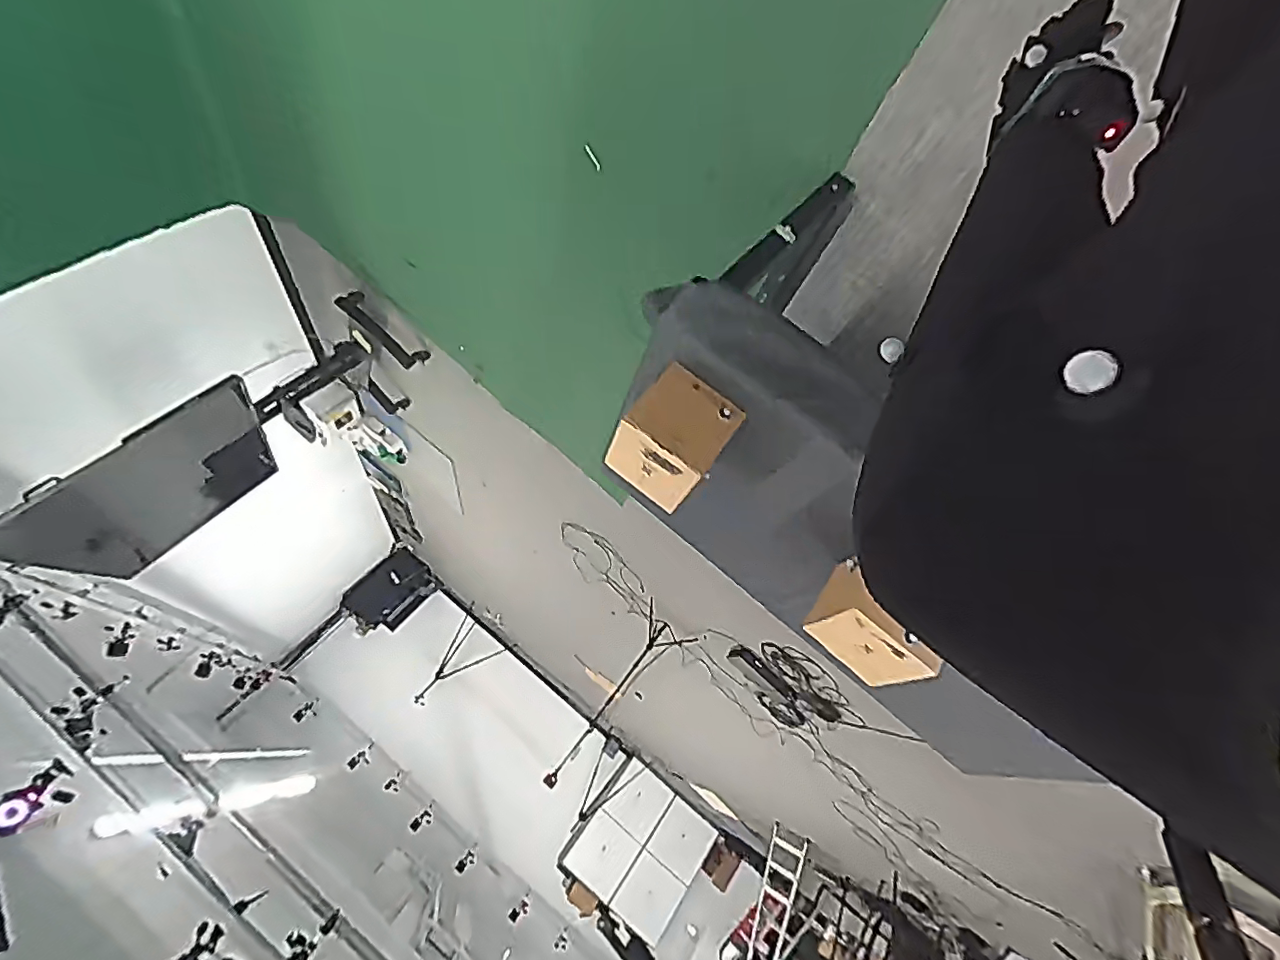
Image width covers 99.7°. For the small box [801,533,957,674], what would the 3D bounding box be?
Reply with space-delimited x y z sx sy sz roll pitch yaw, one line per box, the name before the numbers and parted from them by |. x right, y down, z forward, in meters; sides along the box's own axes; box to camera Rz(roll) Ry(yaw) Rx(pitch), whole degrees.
small box | 0.435 0.227 0.987 0.168 0.176 0.179 39 152 5

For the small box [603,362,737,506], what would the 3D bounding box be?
small box | 0.058 -0.087 1.013 0.168 0.176 0.179 38 152 3
